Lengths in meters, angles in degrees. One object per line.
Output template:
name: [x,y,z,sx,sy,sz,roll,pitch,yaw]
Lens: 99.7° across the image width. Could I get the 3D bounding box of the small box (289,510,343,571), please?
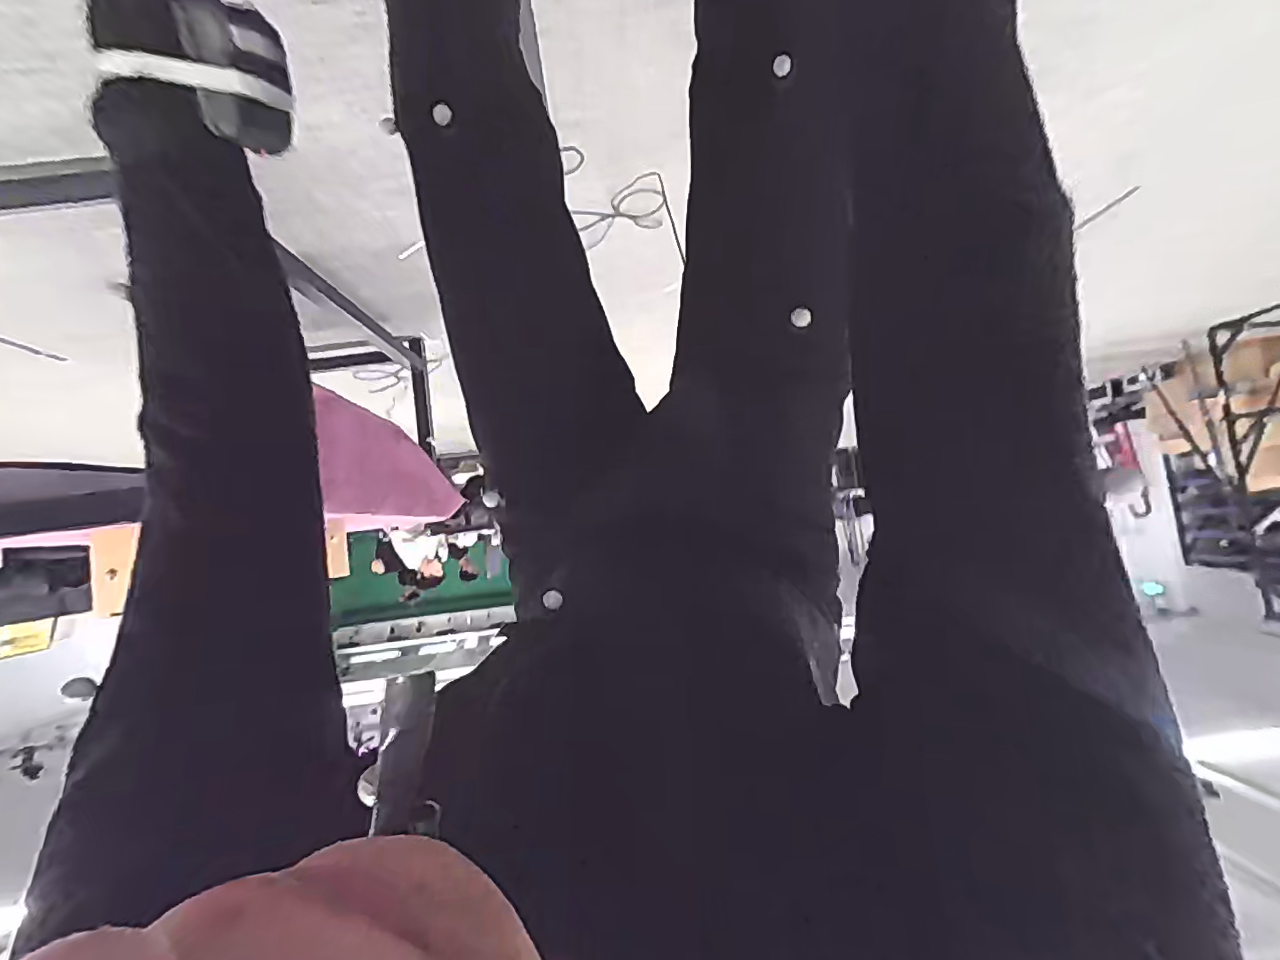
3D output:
small box: [-1.032,0.188,1.631,0.179,0.176,0.168,-8,177,1]
